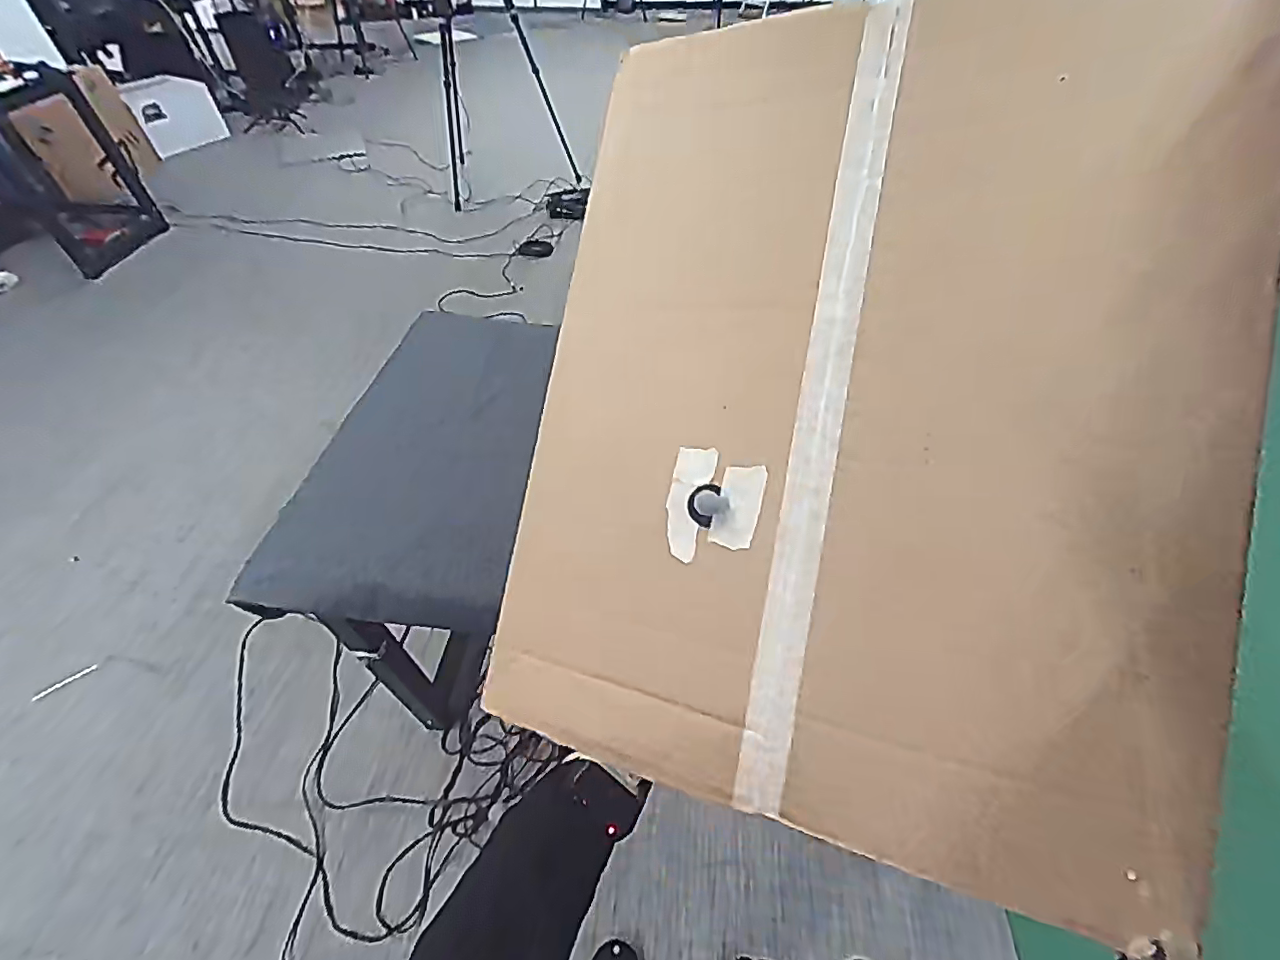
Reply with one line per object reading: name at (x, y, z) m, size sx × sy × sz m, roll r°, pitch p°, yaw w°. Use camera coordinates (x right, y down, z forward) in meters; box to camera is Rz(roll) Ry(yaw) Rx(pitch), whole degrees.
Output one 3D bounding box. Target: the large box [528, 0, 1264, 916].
large box at (0.153, -0.024, 0.418) m, size 0.320 × 0.320 × 0.408 m, roll 8°, pitch 87°, yaw 22°
